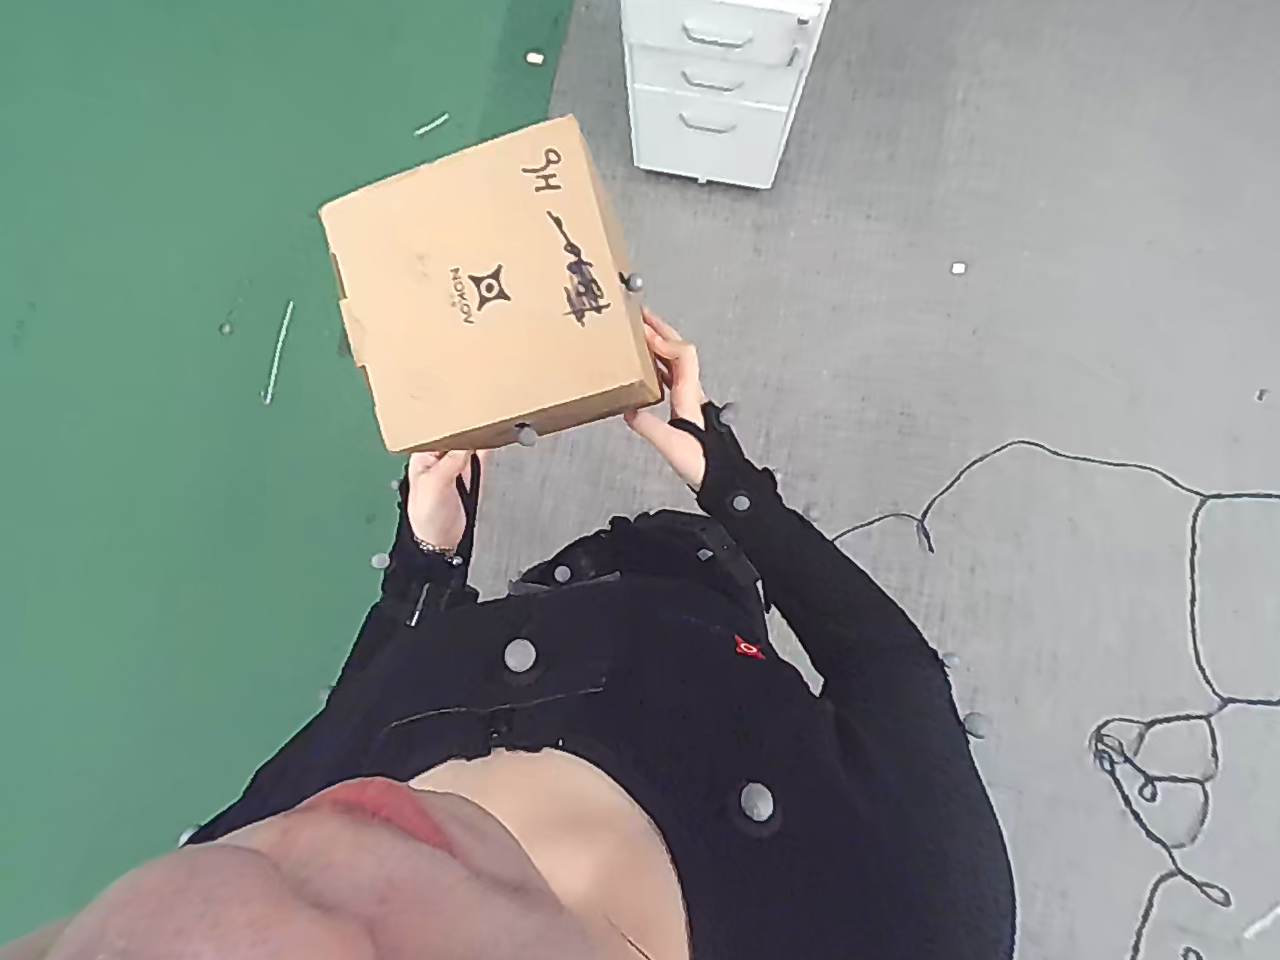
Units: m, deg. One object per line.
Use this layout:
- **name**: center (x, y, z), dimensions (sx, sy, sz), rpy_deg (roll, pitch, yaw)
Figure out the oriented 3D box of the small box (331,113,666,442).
- **small box**: center (-0.087, -0.127, 0.416), dimensions (0.179, 0.176, 0.168), rpy_deg (-14, 93, 8)
